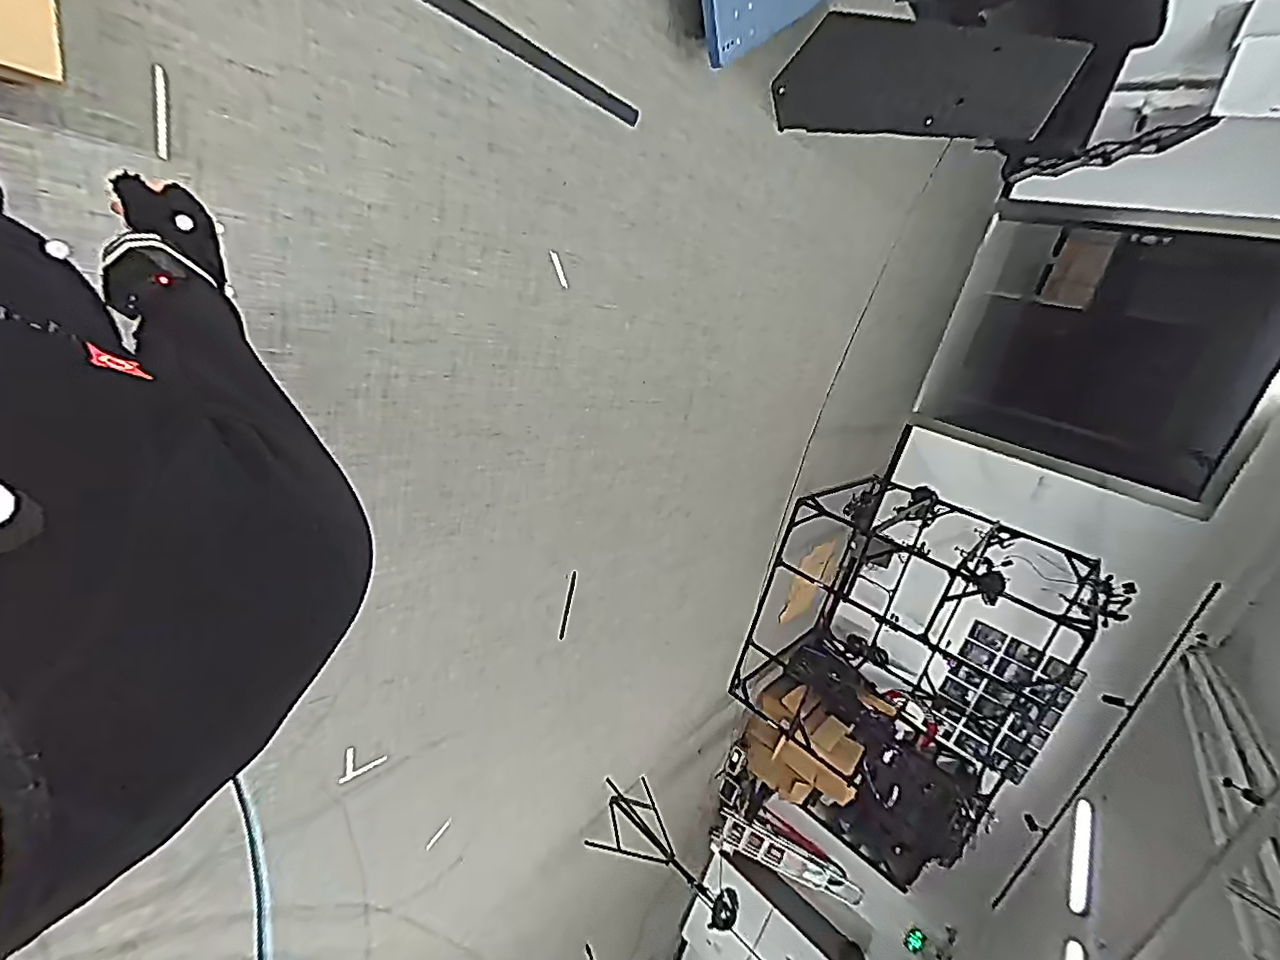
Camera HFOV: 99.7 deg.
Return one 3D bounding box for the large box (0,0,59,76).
[{"bbox_3d":[-0.993,-0.717,0.609,0.408,0.320,0.320,-13,123,-50],"label":"large box"}]
